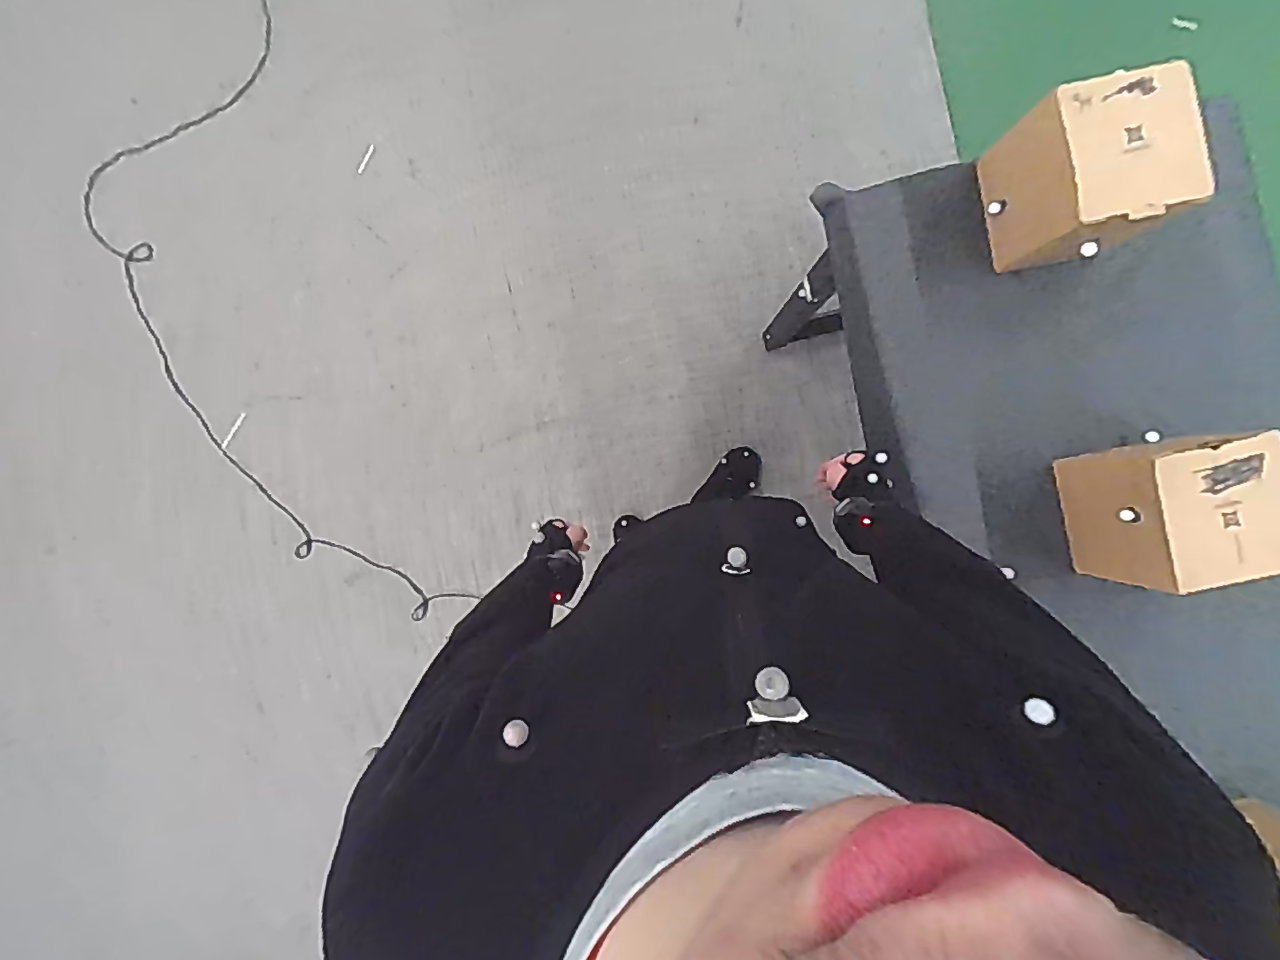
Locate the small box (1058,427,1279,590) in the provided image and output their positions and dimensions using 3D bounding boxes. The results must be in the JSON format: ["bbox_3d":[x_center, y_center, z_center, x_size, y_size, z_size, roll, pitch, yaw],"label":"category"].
[{"bbox_3d":[0.721,0.034,0.740,0.168,0.176,0.179,-12,92,2],"label":"small box"}]

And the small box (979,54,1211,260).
[{"bbox_3d":[0.601,-0.418,0.736,0.168,0.176,0.179,-11,92,1],"label":"small box"}]
